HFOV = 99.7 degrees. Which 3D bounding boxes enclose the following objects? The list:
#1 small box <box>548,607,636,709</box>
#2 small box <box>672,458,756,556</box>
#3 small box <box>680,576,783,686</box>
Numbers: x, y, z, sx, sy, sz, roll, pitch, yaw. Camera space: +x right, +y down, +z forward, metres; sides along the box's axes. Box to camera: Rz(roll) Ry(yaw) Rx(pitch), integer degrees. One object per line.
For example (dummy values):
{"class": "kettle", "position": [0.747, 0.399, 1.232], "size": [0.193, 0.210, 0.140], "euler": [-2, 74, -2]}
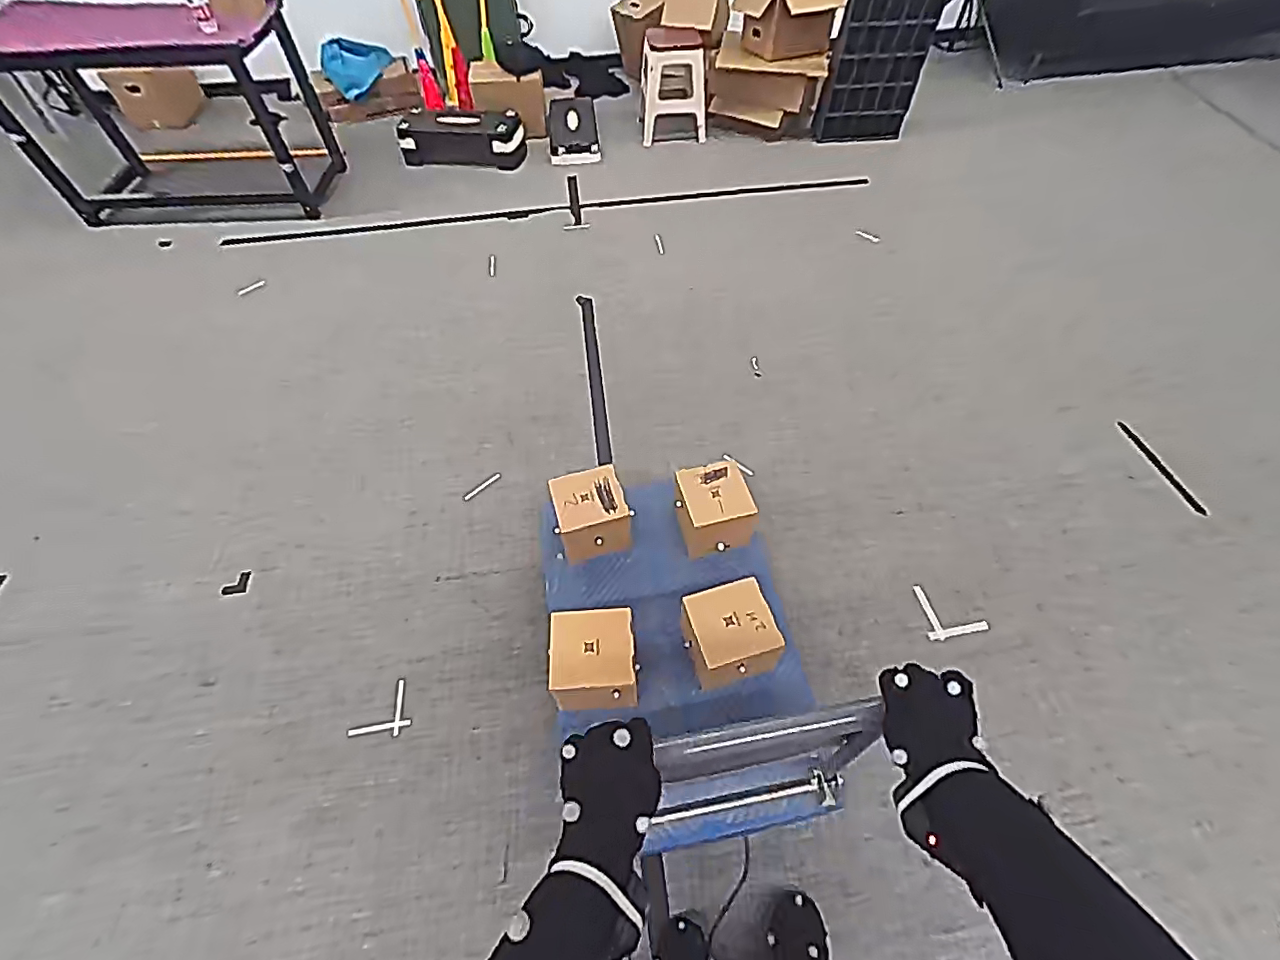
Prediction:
{"class": "small box", "position": [-0.102, 0.395, 1.190], "size": [0.179, 0.176, 0.168], "euler": [-3, 54, -3]}
{"class": "small box", "position": [0.185, 0.071, 1.415], "size": [0.168, 0.176, 0.179], "euler": [-13, 56, -7]}
{"class": "small box", "position": [0.198, 0.345, 1.218], "size": [0.179, 0.176, 0.168], "euler": [-15, 55, -9]}
